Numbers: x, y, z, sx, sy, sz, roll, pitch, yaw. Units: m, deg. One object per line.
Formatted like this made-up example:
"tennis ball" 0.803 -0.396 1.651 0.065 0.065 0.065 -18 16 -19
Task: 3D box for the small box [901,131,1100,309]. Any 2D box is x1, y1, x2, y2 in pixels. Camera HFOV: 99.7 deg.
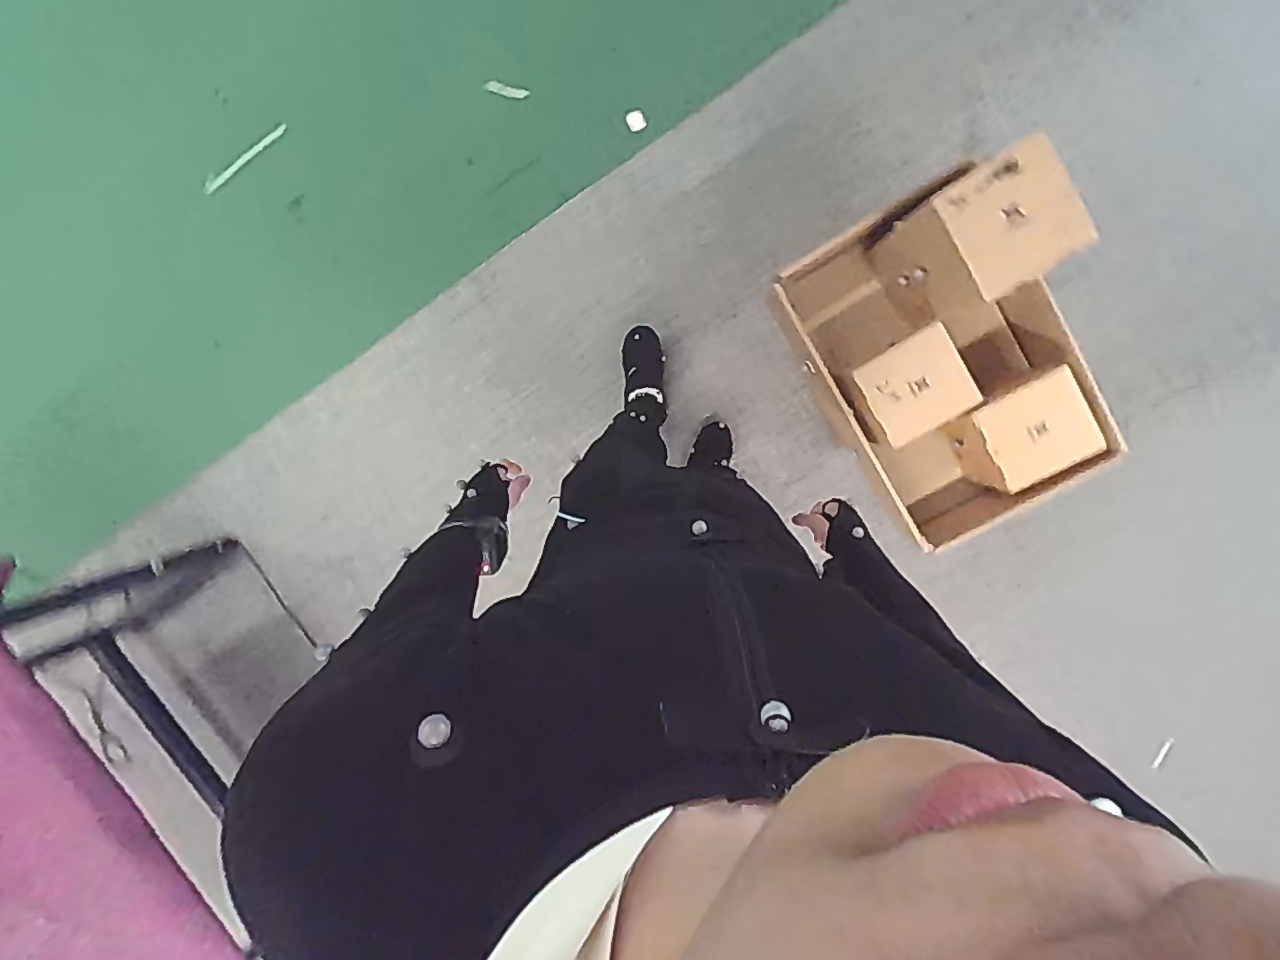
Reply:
"small box" 0.544 -0.383 0.841 0.168 0.176 0.179 -29 96 10
